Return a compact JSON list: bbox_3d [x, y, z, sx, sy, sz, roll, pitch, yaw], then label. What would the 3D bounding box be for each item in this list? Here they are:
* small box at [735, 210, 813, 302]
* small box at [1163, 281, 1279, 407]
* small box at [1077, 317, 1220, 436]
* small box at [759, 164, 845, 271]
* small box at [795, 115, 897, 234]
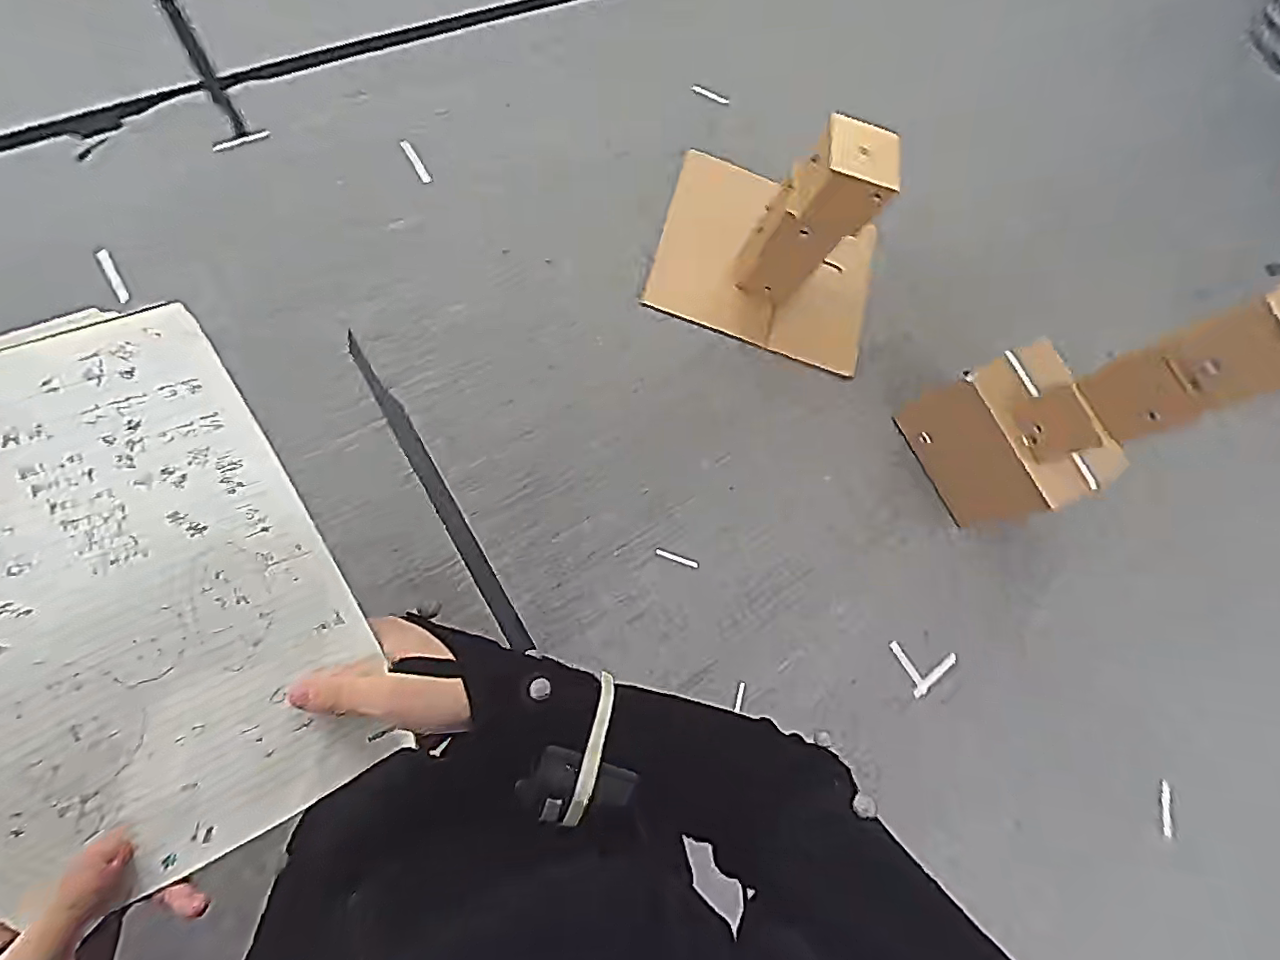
[{"bbox_3d":[0.408,-0.662,1.622,0.179,0.176,0.168,15,73,-10],"label":"small box"},{"bbox_3d":[1.155,-0.261,1.013,0.179,0.176,0.168,-25,81,-17],"label":"small box"},{"bbox_3d":[1.112,-0.212,1.164,0.168,0.176,0.179,-27,81,-18],"label":"small box"},{"bbox_3d":[0.443,-0.702,1.466,0.179,0.176,0.168,17,73,-9],"label":"small box"},{"bbox_3d":[0.494,-0.731,1.314,0.179,0.176,0.168,10,75,-12],"label":"small box"}]
